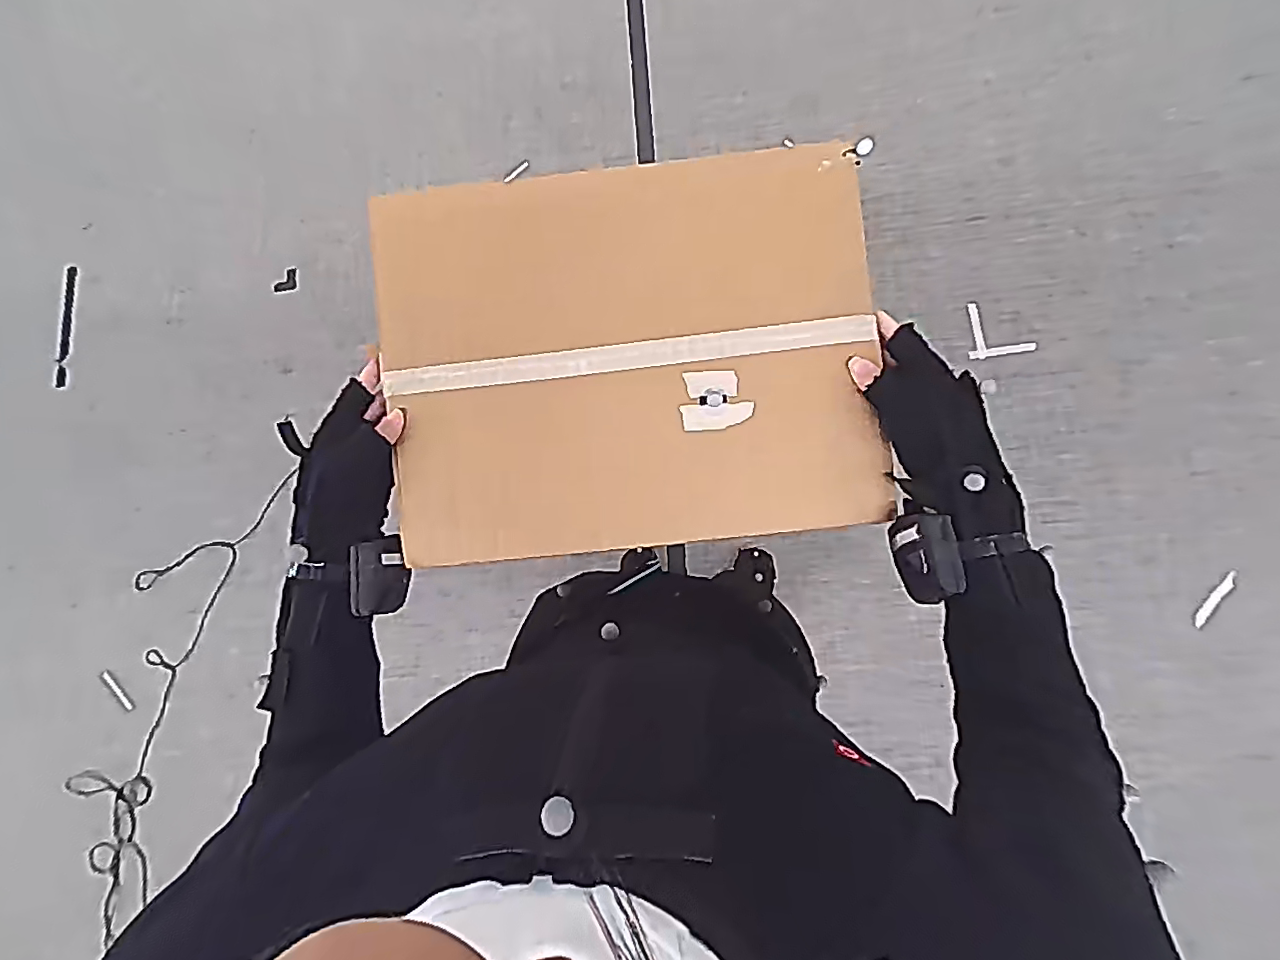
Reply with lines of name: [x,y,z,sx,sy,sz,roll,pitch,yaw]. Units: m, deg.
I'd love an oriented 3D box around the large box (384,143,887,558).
large box: [-0.005,-0.107,0.606,0.408,0.320,0.320,-7,90,1]
